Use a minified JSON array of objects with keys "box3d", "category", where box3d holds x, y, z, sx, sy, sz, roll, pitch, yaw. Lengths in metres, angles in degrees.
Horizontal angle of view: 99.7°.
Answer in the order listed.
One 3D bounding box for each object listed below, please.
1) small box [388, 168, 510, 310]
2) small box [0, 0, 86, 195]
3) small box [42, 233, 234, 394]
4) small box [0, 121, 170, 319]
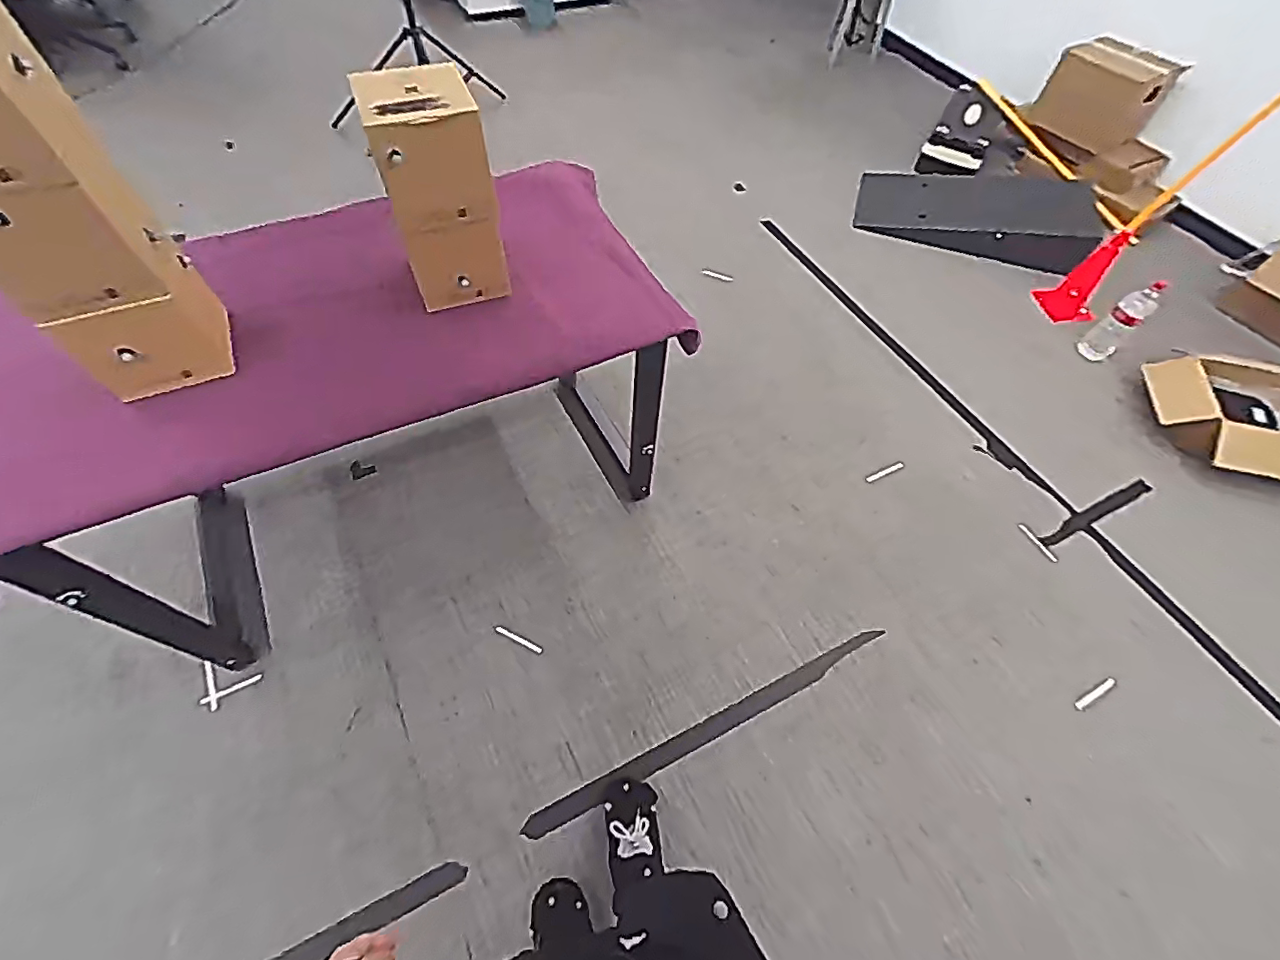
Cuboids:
[{"box3d":[-0.358,-0.455,1.026,0.168,0.176,0.179,-17,61,-13],"category":"small box"},{"box3d":[-0.778,-0.441,0.603,0.168,0.176,0.179,-21,62,-16],"category":"small box"},{"box3d":[-0.798,-0.261,0.878,0.168,0.176,0.179,-21,61,-16],"category":"small box"},{"box3d":[-0.792,-0.353,0.742,0.168,0.176,0.179,-22,61,-16],"category":"small box"}]
